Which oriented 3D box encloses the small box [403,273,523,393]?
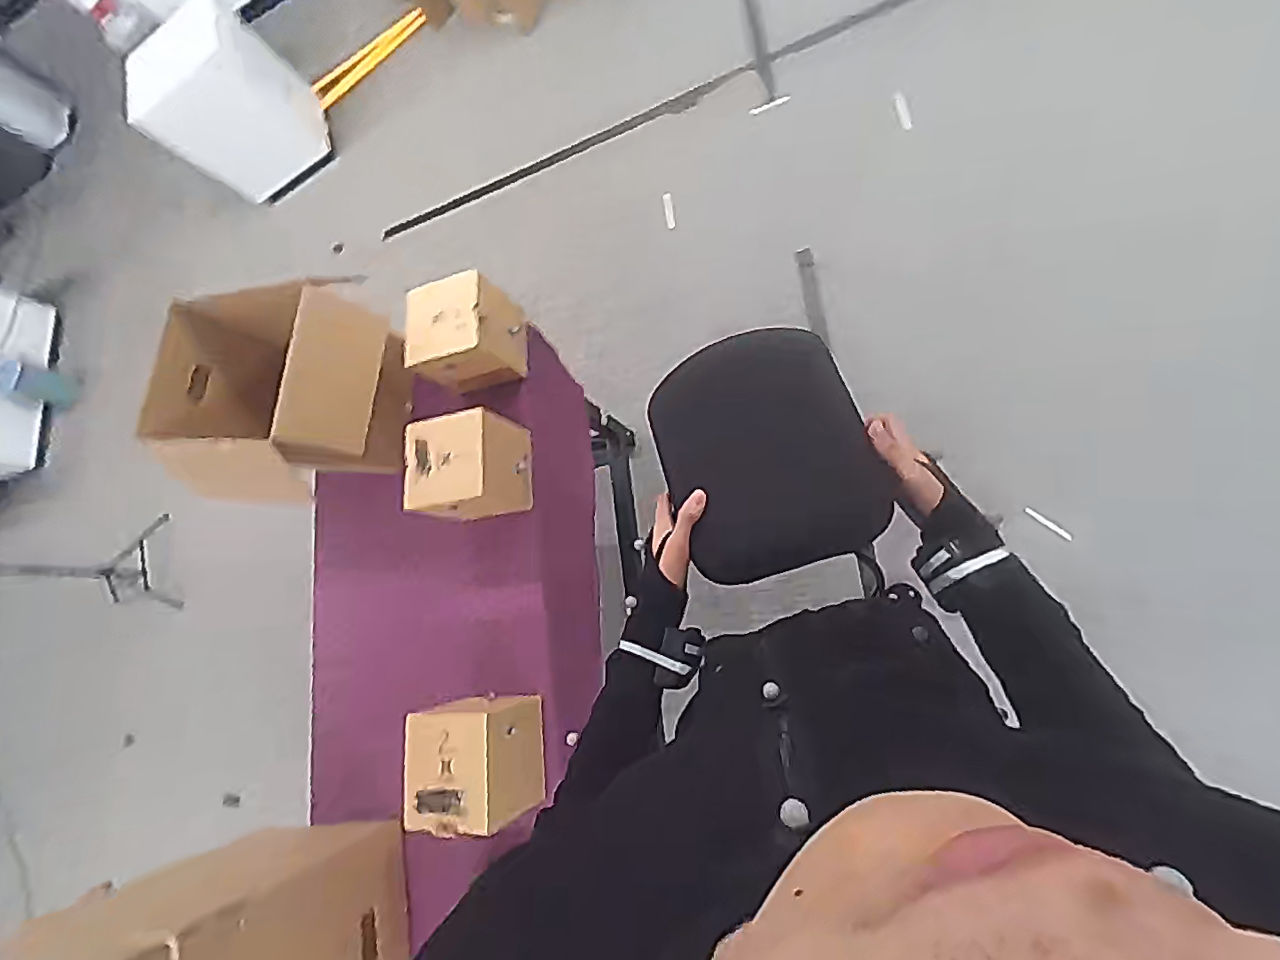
[{"bbox_3d":[-0.363,-0.294,1.125,0.179,0.176,0.168,-10,77,20],"label":"small box"}]

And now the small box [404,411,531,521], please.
[{"bbox_3d":[-0.334,-0.018,1.062,0.179,0.176,0.168,-10,77,19],"label":"small box"}]
